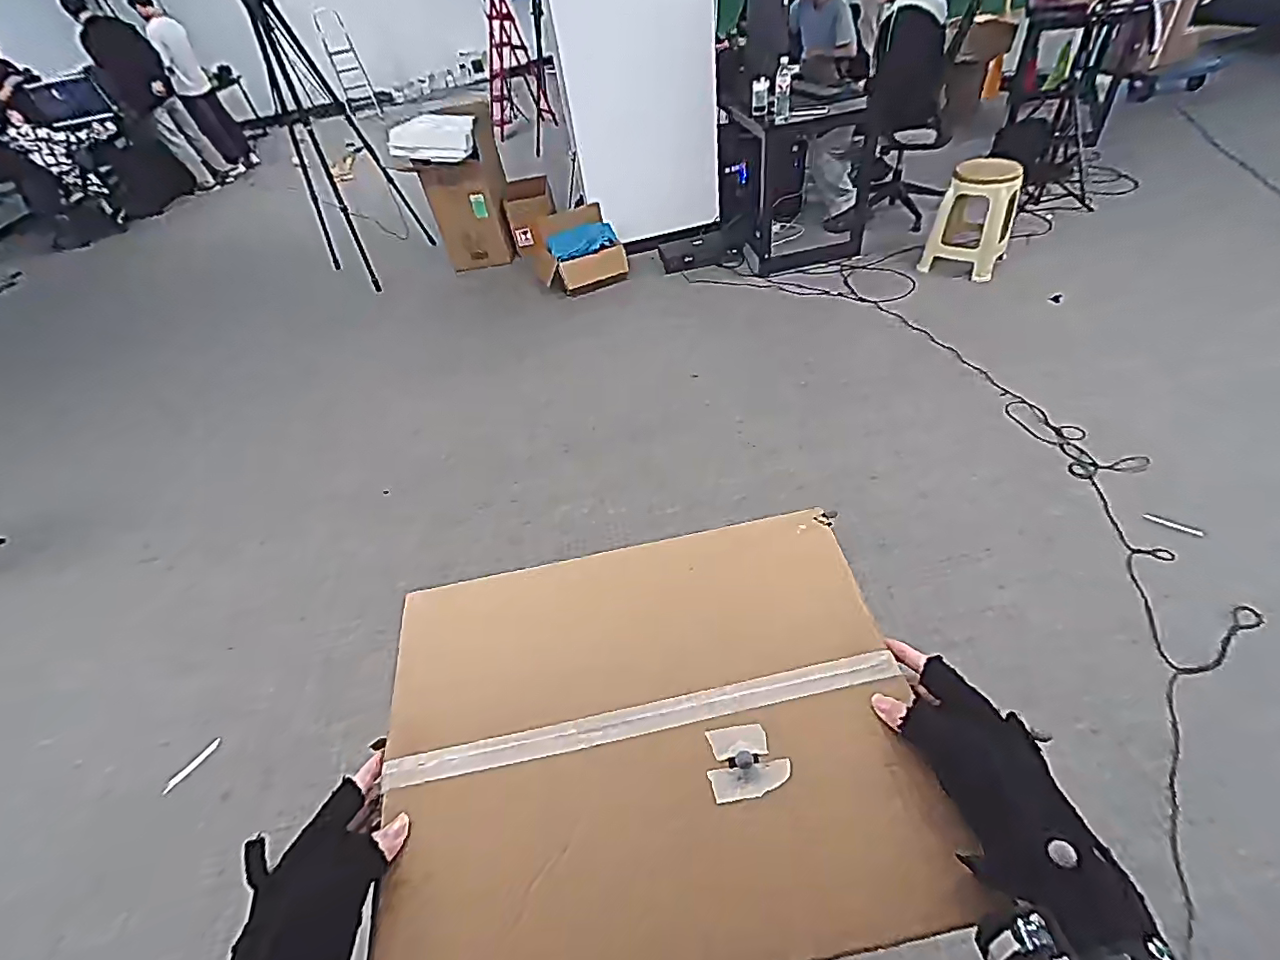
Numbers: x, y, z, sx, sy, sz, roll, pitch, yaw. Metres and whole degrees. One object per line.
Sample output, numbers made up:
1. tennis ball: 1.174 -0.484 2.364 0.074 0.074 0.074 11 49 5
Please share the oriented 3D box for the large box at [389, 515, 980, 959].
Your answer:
1. large box: 0.020 0.283 0.554 0.408 0.320 0.320 -12 52 -1
